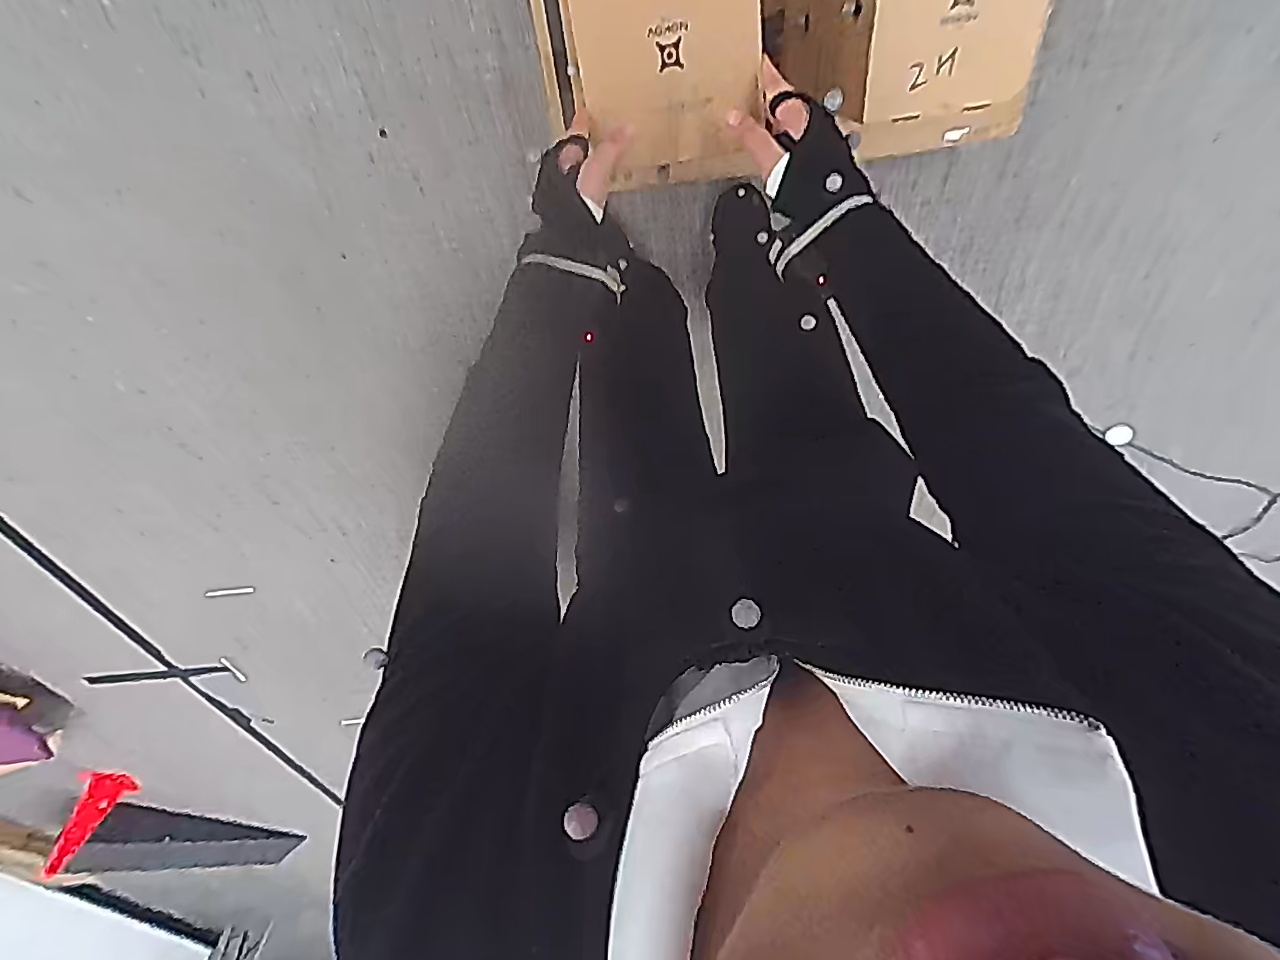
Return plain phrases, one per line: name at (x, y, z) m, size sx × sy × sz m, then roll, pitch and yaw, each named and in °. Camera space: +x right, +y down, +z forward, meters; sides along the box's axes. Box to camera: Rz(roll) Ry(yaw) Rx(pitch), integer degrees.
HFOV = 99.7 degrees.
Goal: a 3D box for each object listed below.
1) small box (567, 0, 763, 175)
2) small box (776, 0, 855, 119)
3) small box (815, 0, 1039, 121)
small box at (0.022, -0.420, 0.545) m, size 0.168 × 0.176 × 0.179 m, roll -9°, pitch 121°, yaw 4°
small box at (0.286, -0.596, 0.718) m, size 0.168 × 0.176 × 0.179 m, roll -3°, pitch 129°, yaw 1°
small box at (0.296, -0.504, 0.580) m, size 0.168 × 0.176 × 0.179 m, roll -6°, pitch 129°, yaw 3°
